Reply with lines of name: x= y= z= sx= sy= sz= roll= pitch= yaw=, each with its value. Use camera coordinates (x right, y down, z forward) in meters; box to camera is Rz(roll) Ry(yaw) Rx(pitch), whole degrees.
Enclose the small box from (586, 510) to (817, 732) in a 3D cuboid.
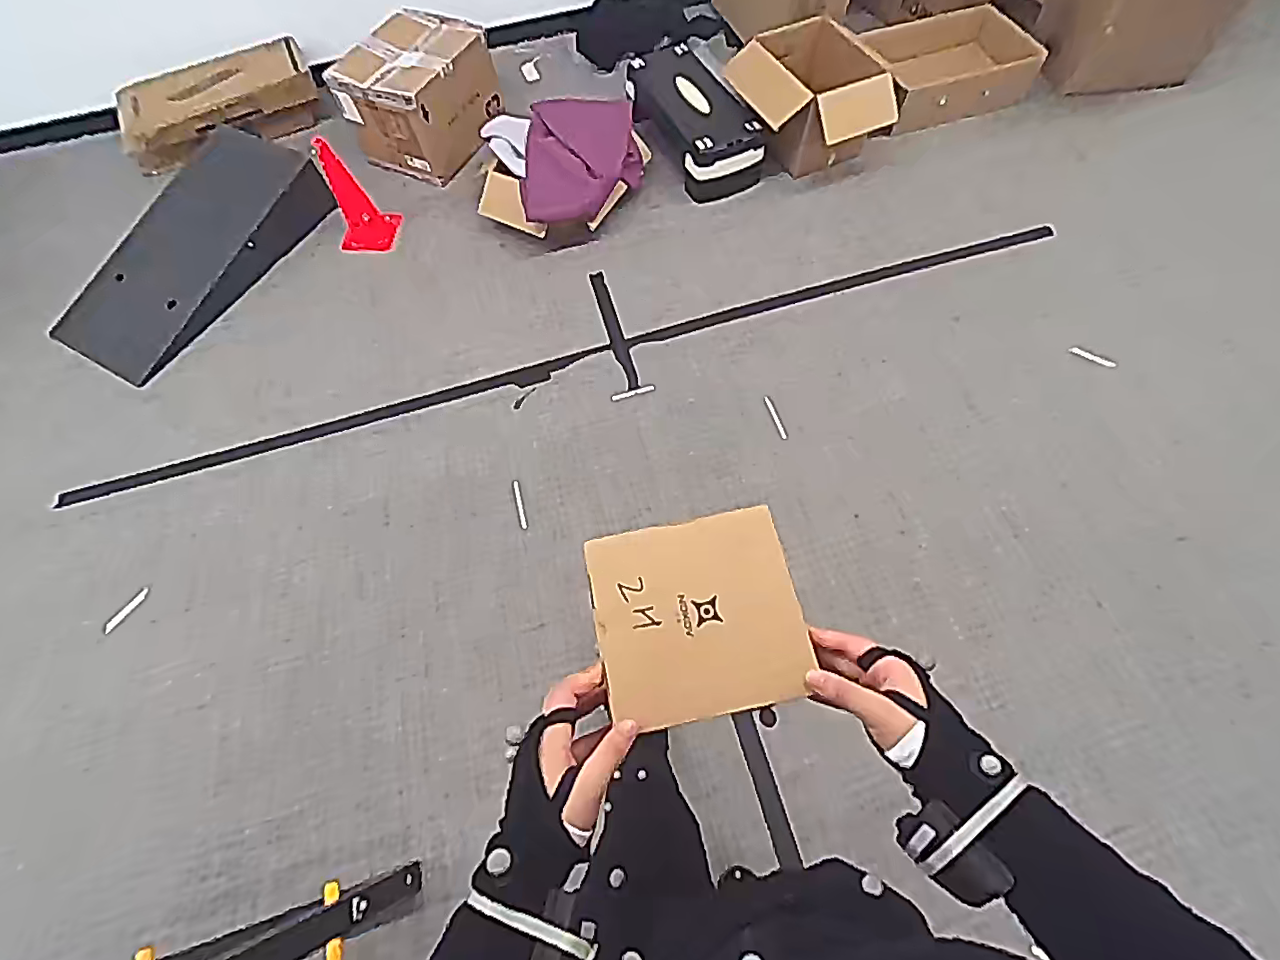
small box: x=0.051 y=0.146 z=0.546 sx=0.179 sy=0.176 sz=0.168 roll=-11 pitch=66 yaw=-2
